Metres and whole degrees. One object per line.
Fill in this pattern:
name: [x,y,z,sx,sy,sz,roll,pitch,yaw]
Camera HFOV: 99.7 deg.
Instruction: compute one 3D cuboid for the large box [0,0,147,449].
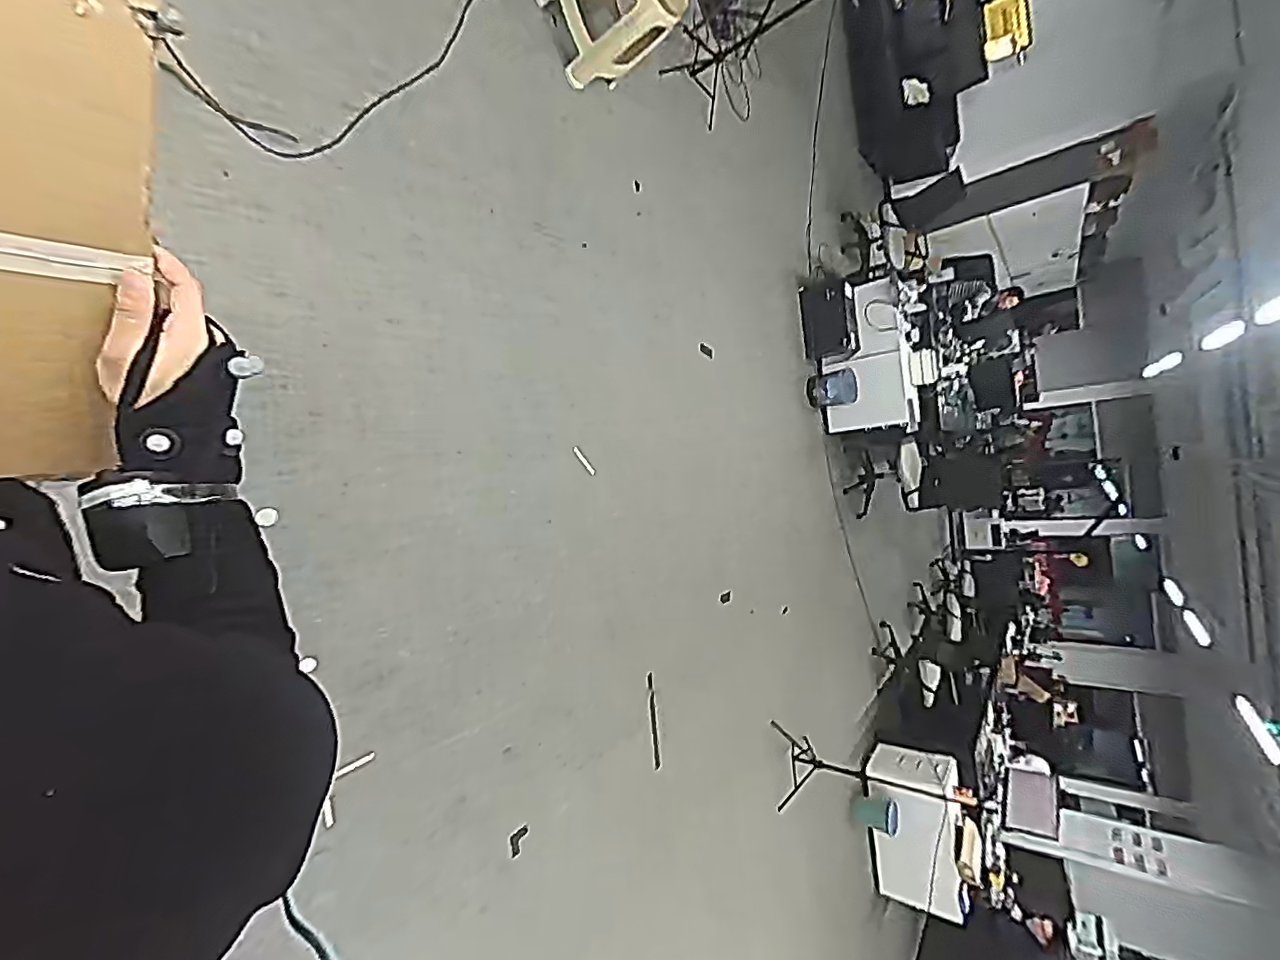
large box: [-0.558,-0.214,0.274,0.408,0.320,0.320,-10,133,-53]
